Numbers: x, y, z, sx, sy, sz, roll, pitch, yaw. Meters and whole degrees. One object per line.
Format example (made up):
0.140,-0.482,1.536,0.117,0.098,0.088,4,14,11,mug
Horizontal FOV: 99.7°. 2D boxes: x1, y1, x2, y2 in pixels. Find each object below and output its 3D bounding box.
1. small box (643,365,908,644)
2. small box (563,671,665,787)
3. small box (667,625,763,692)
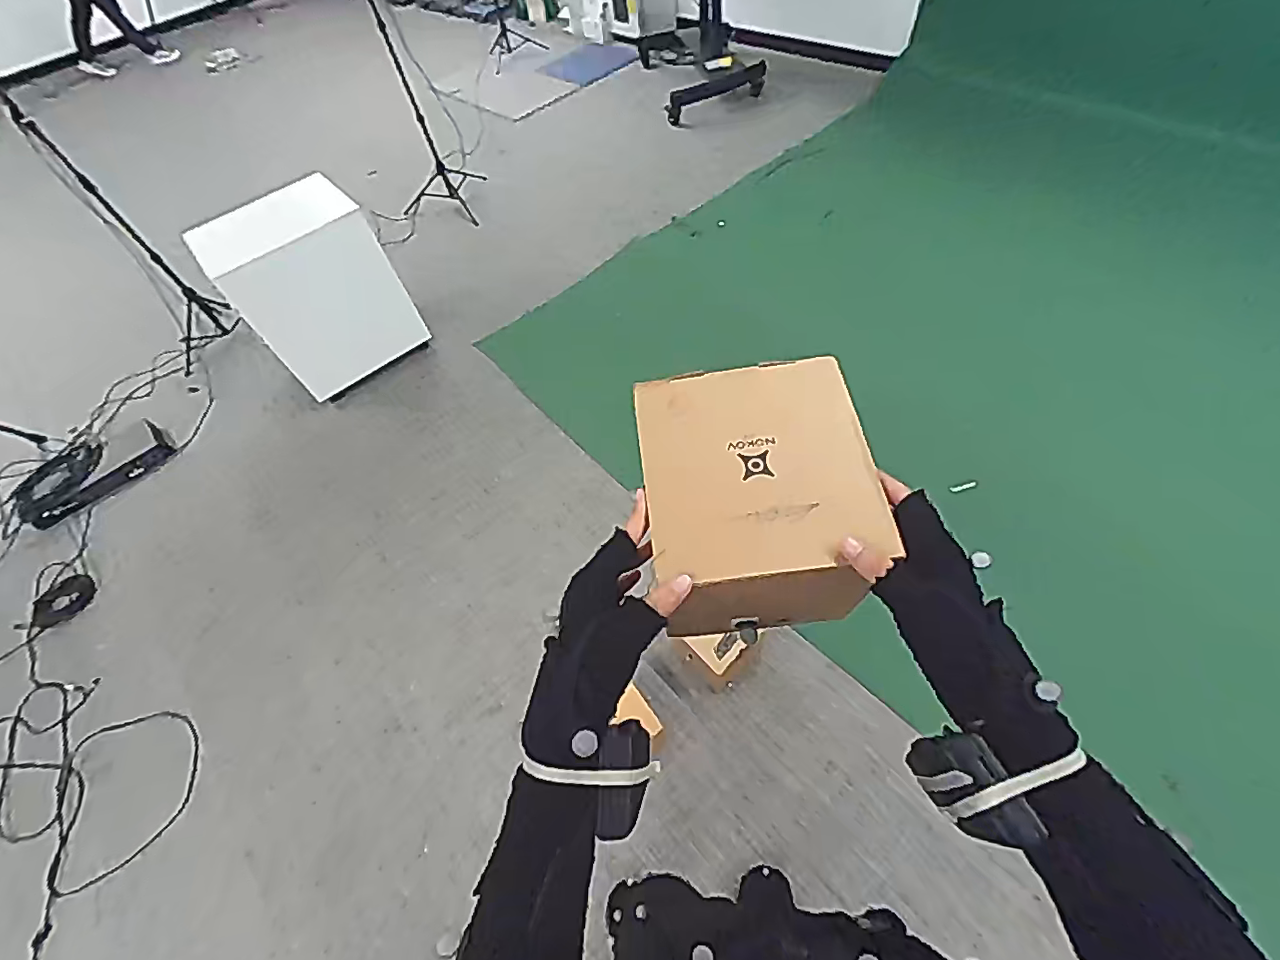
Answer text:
0.094,0.029,0.466,0.168,0.176,0.179,-7,61,2,small box
-0.056,0.592,1.280,0.168,0.176,0.179,-34,58,-16,small box
0.191,0.412,1.373,0.168,0.176,0.179,-38,58,-18,small box
